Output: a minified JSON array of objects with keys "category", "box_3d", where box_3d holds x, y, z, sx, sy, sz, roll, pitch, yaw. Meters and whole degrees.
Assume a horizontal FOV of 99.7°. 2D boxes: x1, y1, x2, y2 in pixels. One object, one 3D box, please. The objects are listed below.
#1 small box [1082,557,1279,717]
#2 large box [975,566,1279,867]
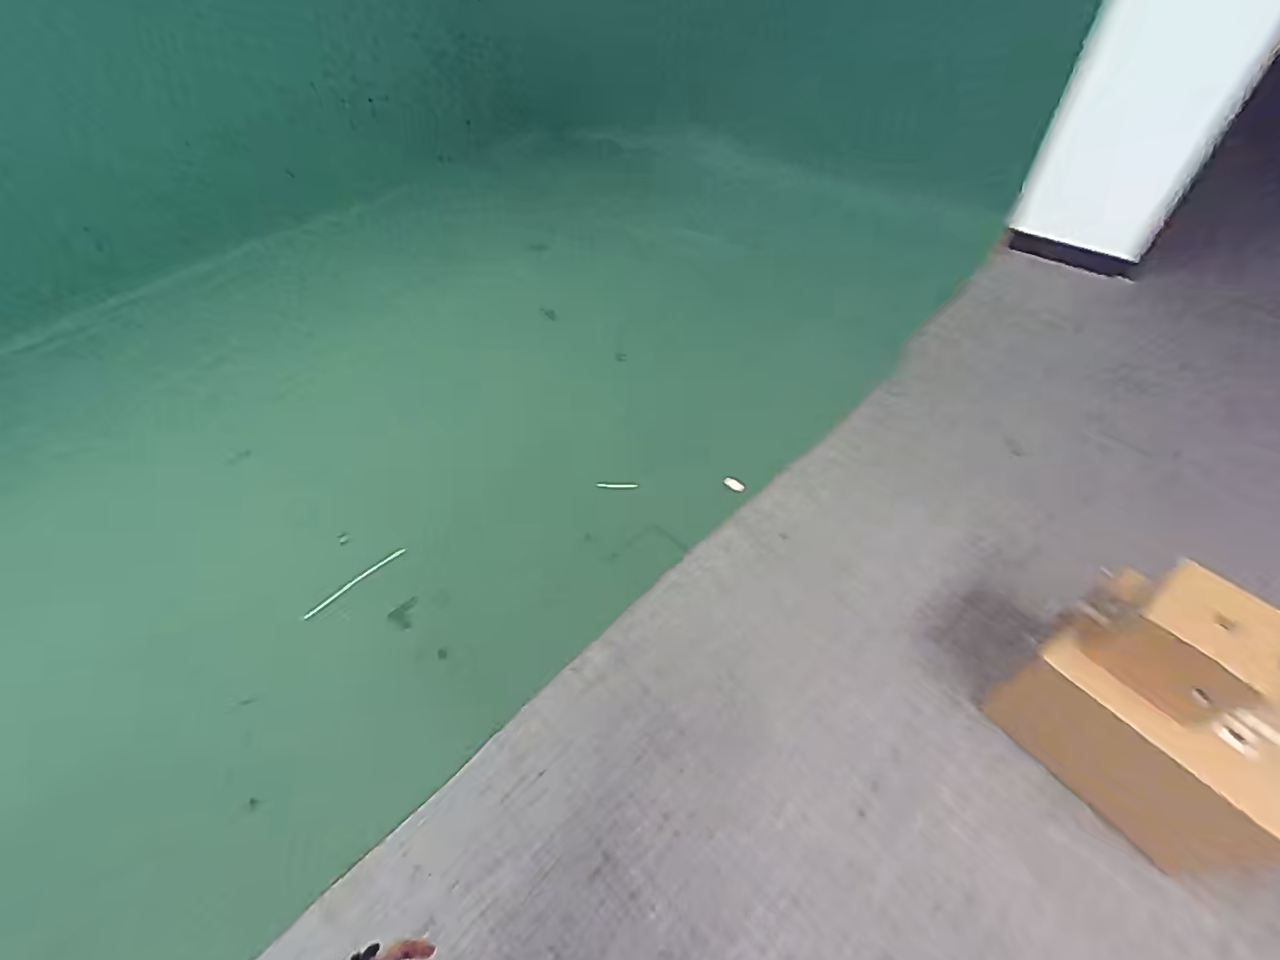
[{"category":"small box","box_3d":[0.915,0.272,0.913,0.168,0.176,0.179,-34,54,-21]},{"category":"large box","box_3d":[0.986,0.457,1.068,0.320,0.320,0.408,-34,56,-19]}]
